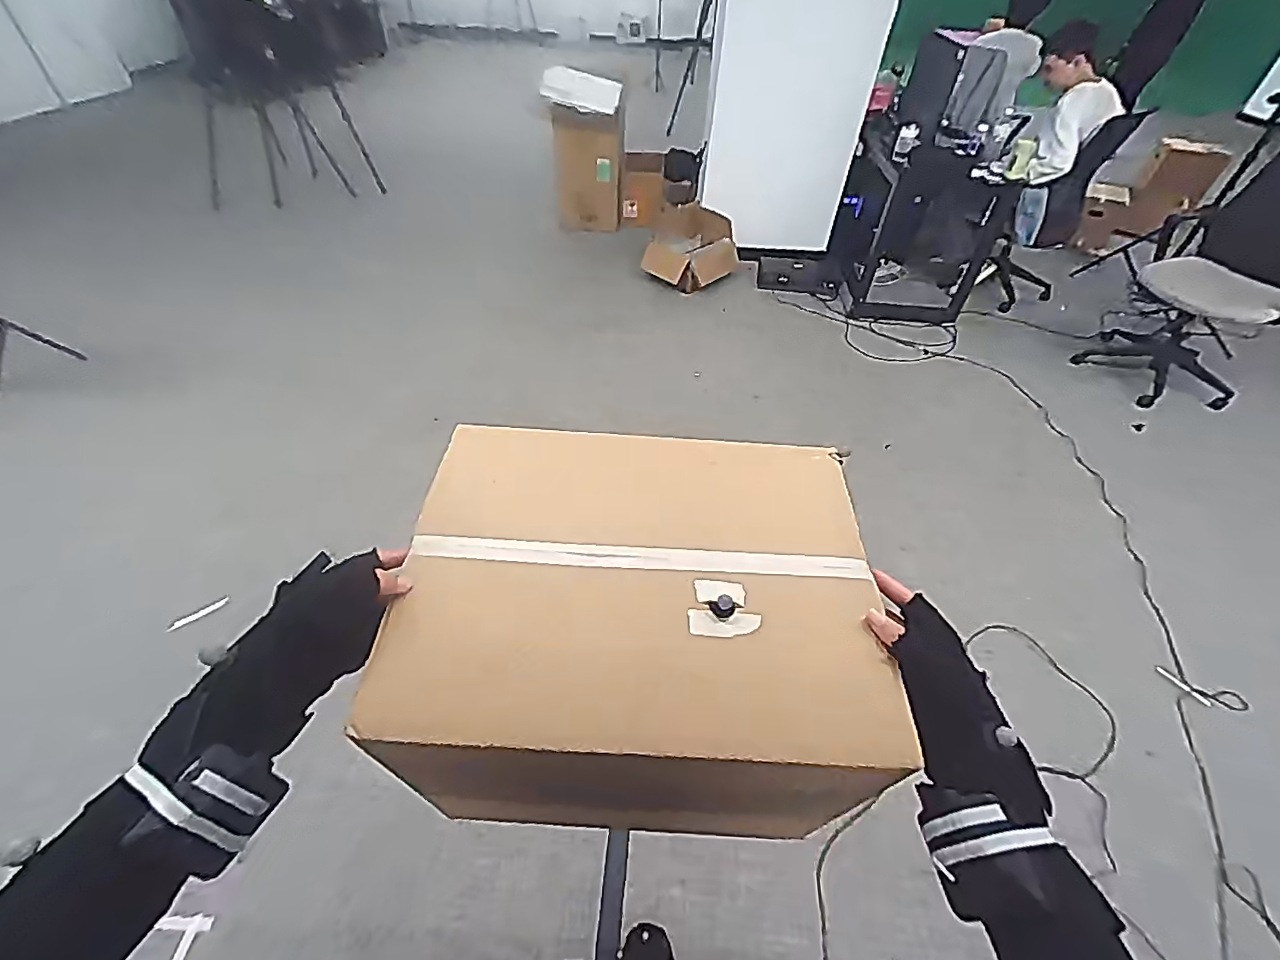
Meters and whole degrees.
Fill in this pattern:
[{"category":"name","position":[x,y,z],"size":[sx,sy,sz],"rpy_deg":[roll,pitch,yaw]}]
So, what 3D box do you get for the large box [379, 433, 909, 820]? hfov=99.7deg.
[{"category":"large box","position":[-0.001,0.171,0.606],"size":[0.408,0.320,0.320],"rpy_deg":[4,50,-1]}]
